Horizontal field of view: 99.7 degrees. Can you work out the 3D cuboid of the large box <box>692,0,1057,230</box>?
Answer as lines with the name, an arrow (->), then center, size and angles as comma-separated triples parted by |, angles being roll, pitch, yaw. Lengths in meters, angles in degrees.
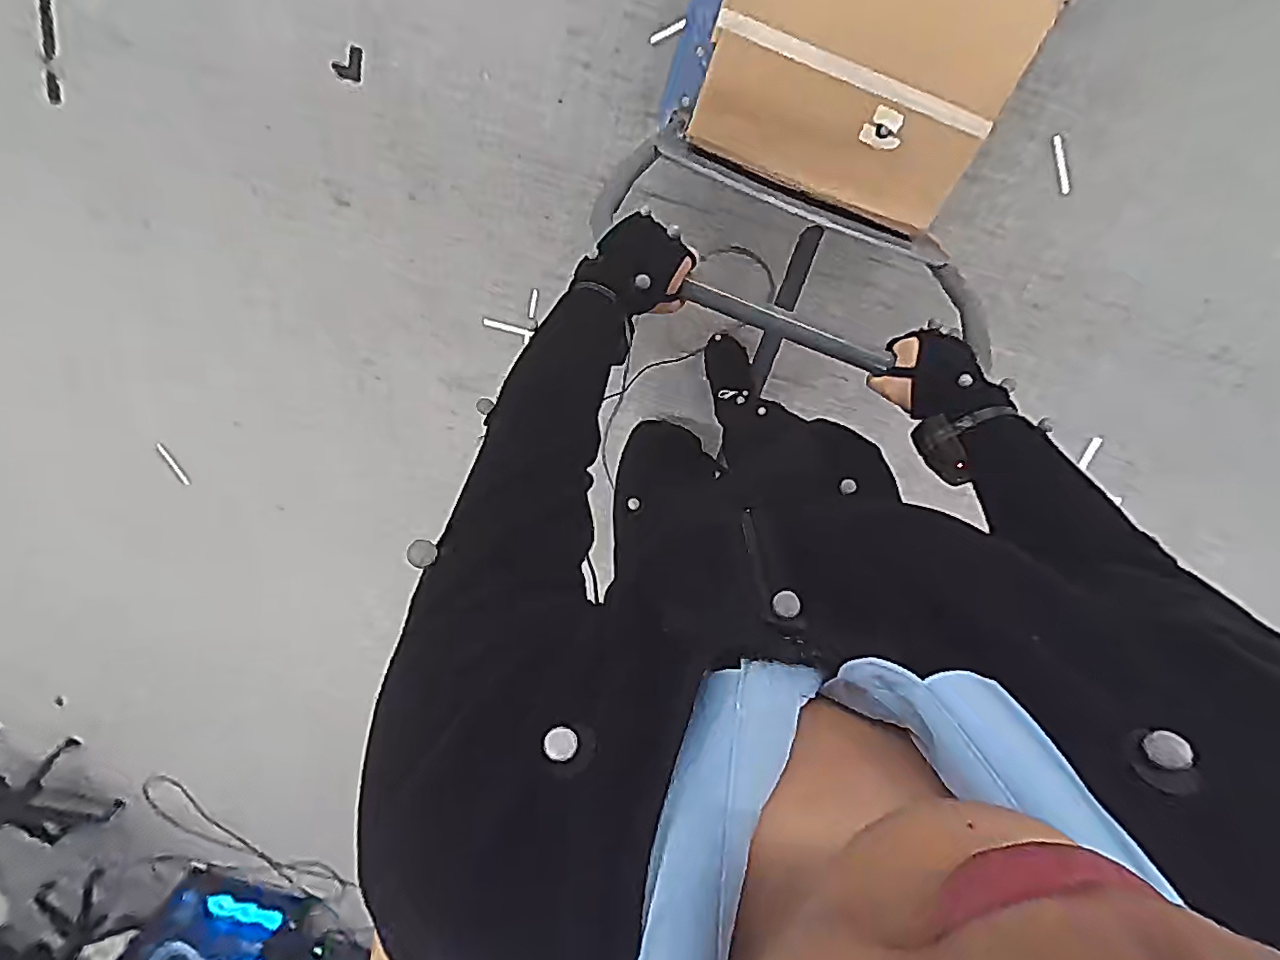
large box -> 0.332, -0.664, 0.891 | 0.408, 0.320, 0.320 | 20, 127, -4
